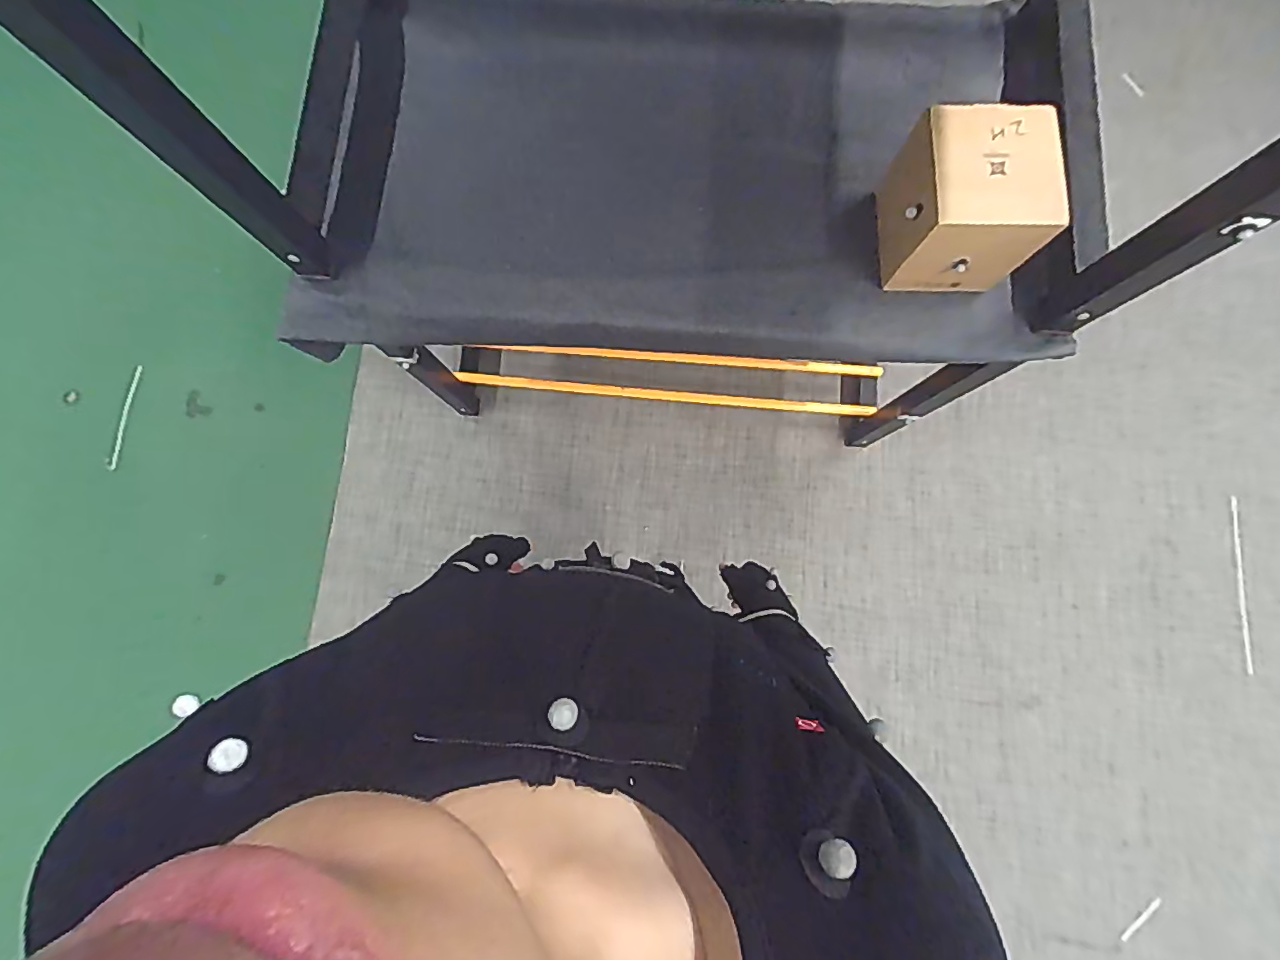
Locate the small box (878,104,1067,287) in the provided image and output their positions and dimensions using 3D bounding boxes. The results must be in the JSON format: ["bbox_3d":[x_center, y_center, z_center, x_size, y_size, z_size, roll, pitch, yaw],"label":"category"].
[{"bbox_3d":[0.459,-0.394,0.774,0.168,0.176,0.179,1,80,0],"label":"small box"}]
